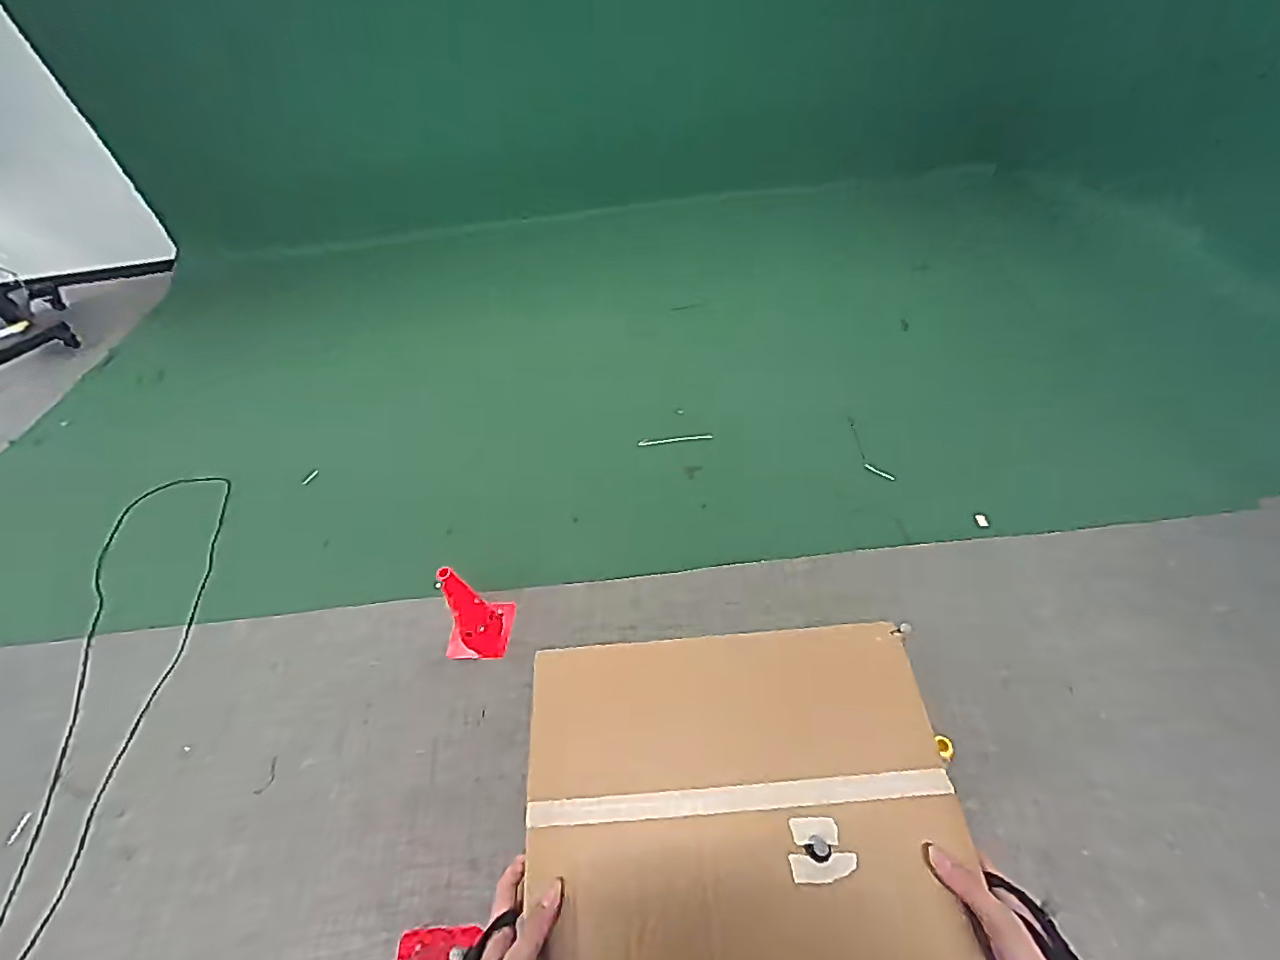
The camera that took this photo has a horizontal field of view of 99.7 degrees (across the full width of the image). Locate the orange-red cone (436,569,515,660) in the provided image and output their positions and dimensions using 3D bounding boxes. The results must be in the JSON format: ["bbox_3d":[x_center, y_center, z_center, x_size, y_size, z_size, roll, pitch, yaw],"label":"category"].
[{"bbox_3d":[-0.548,0.390,1.673,0.199,0.360,0.198,-2,47,8],"label":"orange-red cone"}]

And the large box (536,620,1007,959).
[{"bbox_3d":[0.104,0.388,0.650,0.408,0.320,0.320,-6,57,0],"label":"large box"}]
